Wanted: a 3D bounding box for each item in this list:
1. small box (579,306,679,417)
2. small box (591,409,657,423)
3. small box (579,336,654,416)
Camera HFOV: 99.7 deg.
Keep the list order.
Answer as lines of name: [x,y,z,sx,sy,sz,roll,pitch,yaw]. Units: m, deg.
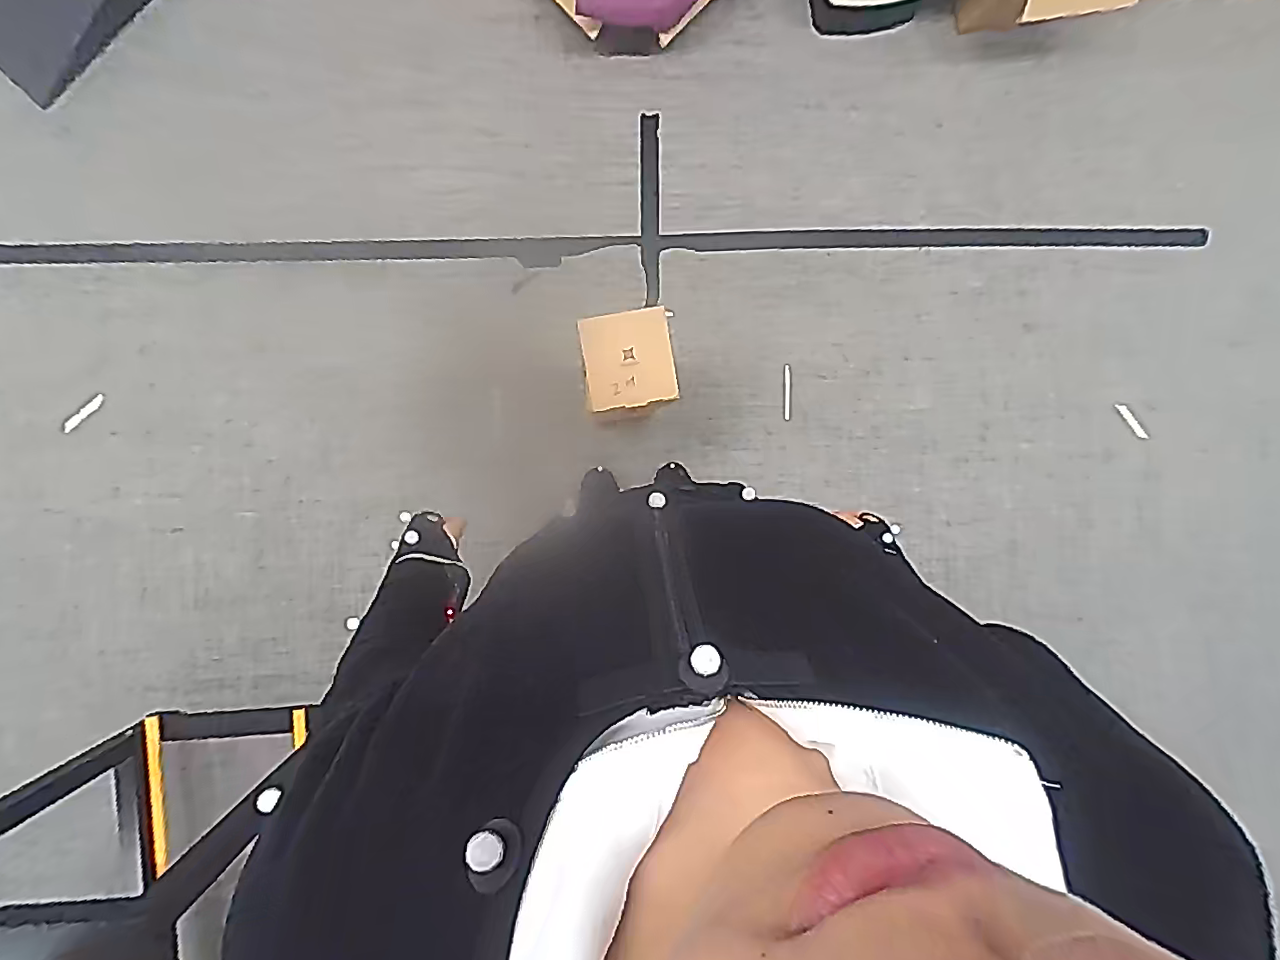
small box: [-0.024,-0.228,1.077,0.168,0.176,0.179,-10,94,-1]
small box: [-0.052,-0.246,1.405,0.168,0.176,0.179,-8,95,-1]
small box: [-0.040,-0.240,1.241,0.179,0.176,0.168,-6,94,-2]
